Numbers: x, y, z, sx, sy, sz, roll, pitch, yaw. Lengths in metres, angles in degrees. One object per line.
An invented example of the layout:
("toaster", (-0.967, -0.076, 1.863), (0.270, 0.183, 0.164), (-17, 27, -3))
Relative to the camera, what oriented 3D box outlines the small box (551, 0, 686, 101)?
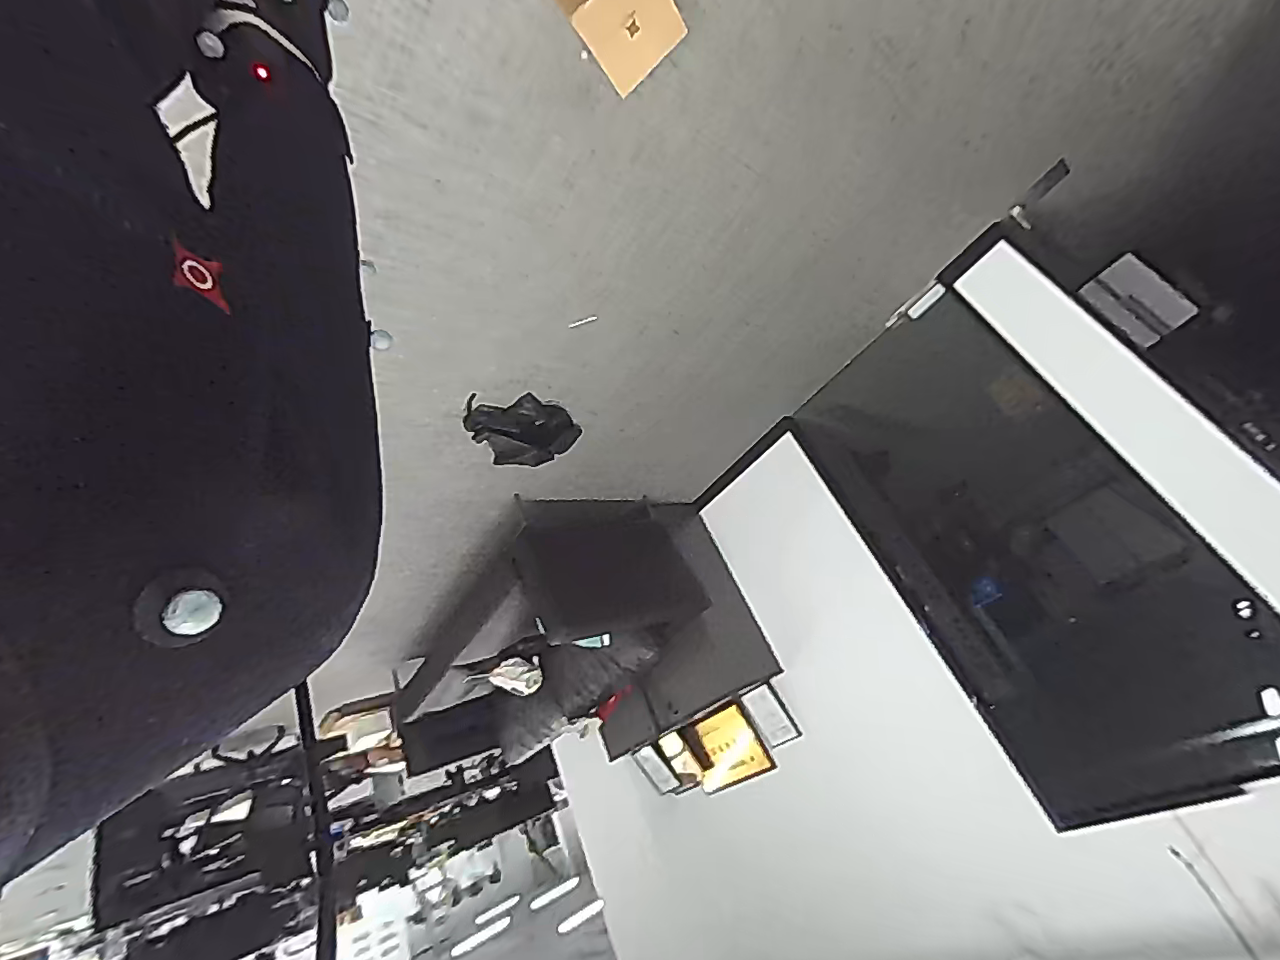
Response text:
("small box", (-0.046, -0.879, 1.014), (0.168, 0.176, 0.179), (-36, 151, 20))
